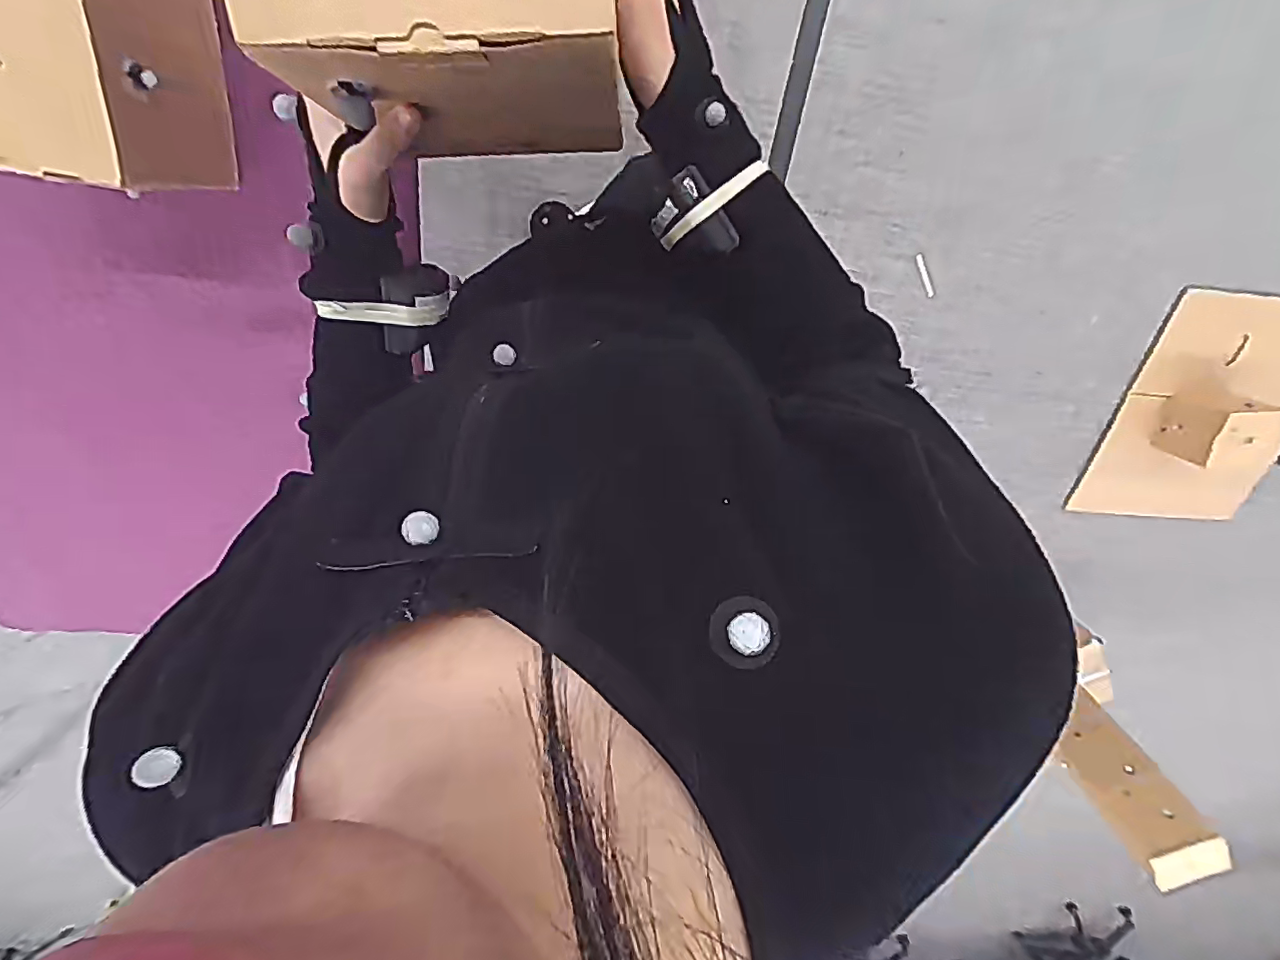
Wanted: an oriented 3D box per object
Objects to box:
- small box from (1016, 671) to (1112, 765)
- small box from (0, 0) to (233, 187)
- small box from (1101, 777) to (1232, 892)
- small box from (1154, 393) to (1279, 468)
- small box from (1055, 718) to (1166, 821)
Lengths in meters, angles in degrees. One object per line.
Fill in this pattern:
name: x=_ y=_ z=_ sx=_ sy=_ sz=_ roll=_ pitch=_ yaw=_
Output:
small box: x=1.292 y=0.719 z=1.640 sx=0.168 sy=0.176 sz=0.179 roll=-31 pitch=115 yaw=12
small box: x=-0.488 y=-0.362 z=0.461 sx=0.168 sy=0.176 sz=0.179 roll=7 pitch=117 yaw=-9
small box: x=1.307 y=0.876 z=1.353 sx=0.168 sy=0.176 sz=0.179 roll=-31 pitch=116 yaw=12
small box: x=1.646 y=-0.144 z=1.539 sx=0.179 sy=0.176 sz=0.168 roll=-3 pitch=116 yaw=-2
small box: x=1.303 y=0.798 z=1.497 sx=0.168 sy=0.176 sz=0.179 roll=-31 pitch=116 yaw=12
